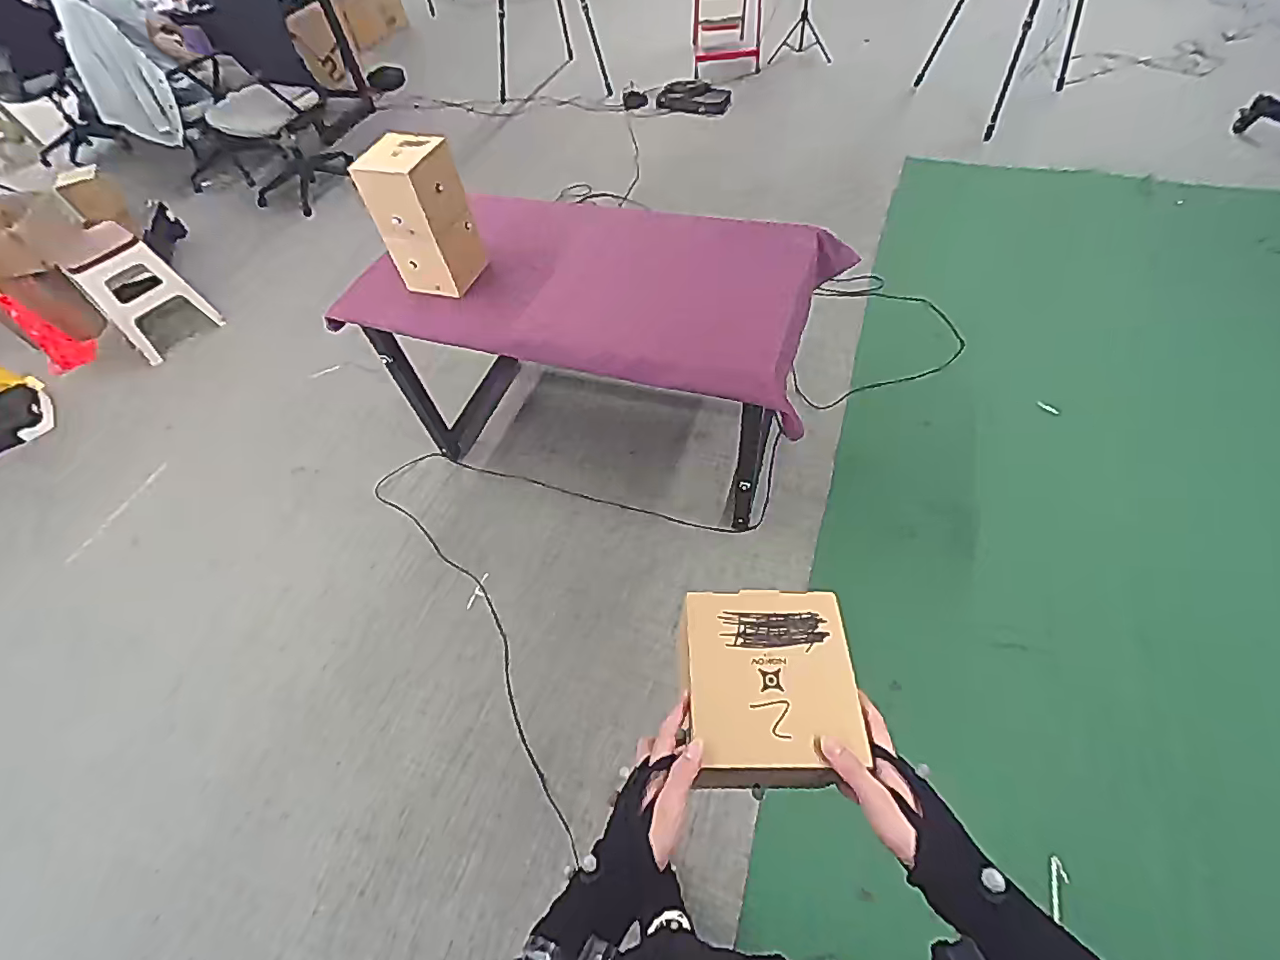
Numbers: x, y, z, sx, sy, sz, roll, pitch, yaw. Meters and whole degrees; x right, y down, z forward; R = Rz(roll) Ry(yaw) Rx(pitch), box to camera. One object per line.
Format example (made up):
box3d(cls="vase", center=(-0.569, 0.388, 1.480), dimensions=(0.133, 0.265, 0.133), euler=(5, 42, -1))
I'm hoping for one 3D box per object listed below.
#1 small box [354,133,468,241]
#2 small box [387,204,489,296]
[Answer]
box3d(cls="small box", center=(-0.545, -0.716, 1.322), dimensions=(0.168, 0.176, 0.179), euler=(13, 58, 15))
box3d(cls="small box", center=(-0.532, -0.621, 1.455), dimensions=(0.168, 0.176, 0.179), euler=(12, 57, 14))
